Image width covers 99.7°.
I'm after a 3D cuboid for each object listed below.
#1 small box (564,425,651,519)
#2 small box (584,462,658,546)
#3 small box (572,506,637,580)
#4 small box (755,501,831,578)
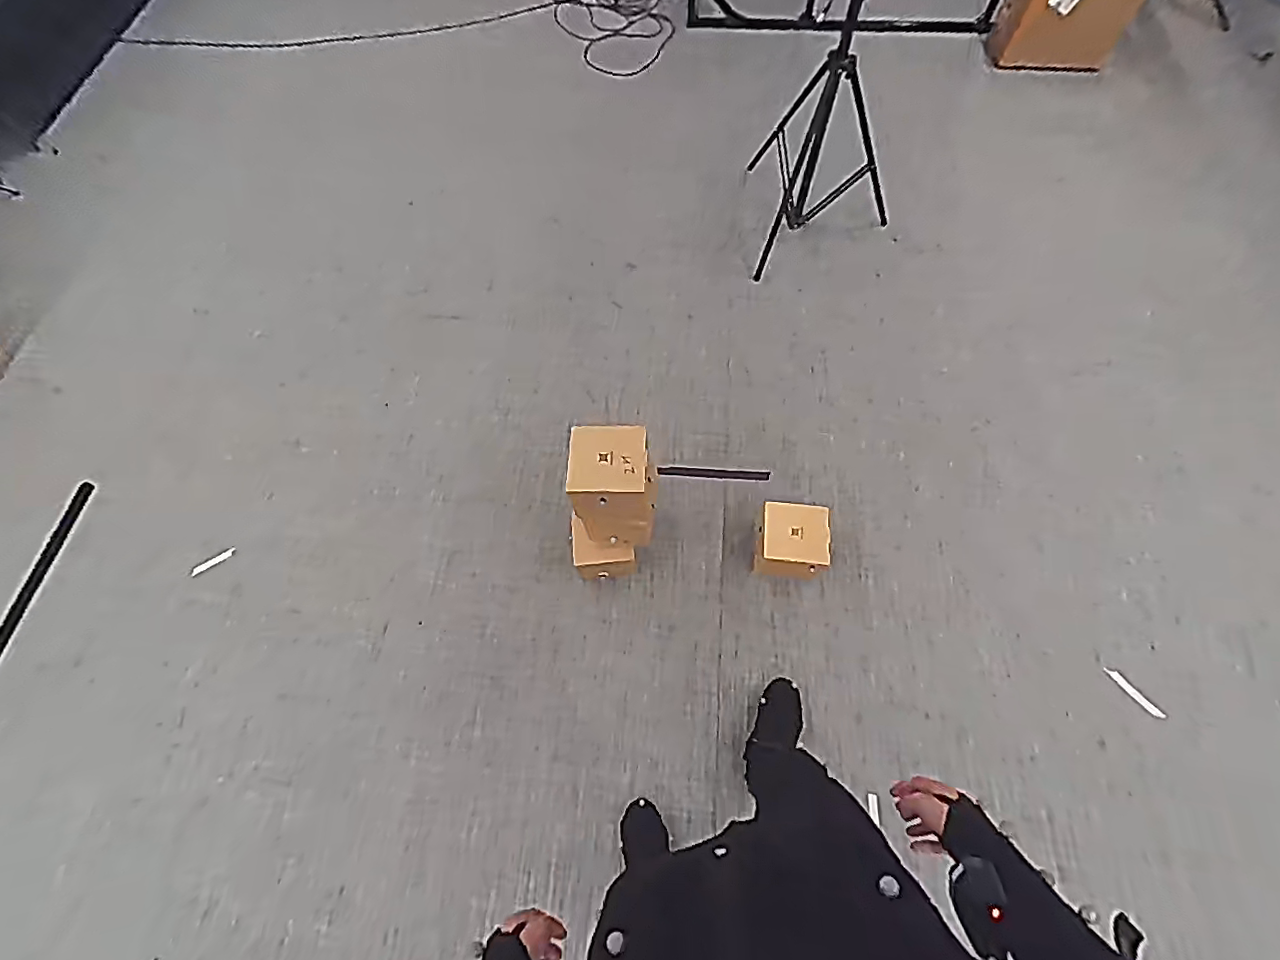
[{"bbox_3d":[-0.068,-0.014,1.255,0.179,0.176,0.168,1,65,3],"label":"small box"},{"bbox_3d":[-0.046,0.056,1.403,0.168,0.176,0.179,7,66,7],"label":"small box"},{"bbox_3d":[-0.099,0.174,1.531,0.168,0.176,0.179,-6,66,0],"label":"small box"},{"bbox_3d":[0.422,0.171,1.513,0.179,0.176,0.168,5,66,3],"label":"small box"}]
